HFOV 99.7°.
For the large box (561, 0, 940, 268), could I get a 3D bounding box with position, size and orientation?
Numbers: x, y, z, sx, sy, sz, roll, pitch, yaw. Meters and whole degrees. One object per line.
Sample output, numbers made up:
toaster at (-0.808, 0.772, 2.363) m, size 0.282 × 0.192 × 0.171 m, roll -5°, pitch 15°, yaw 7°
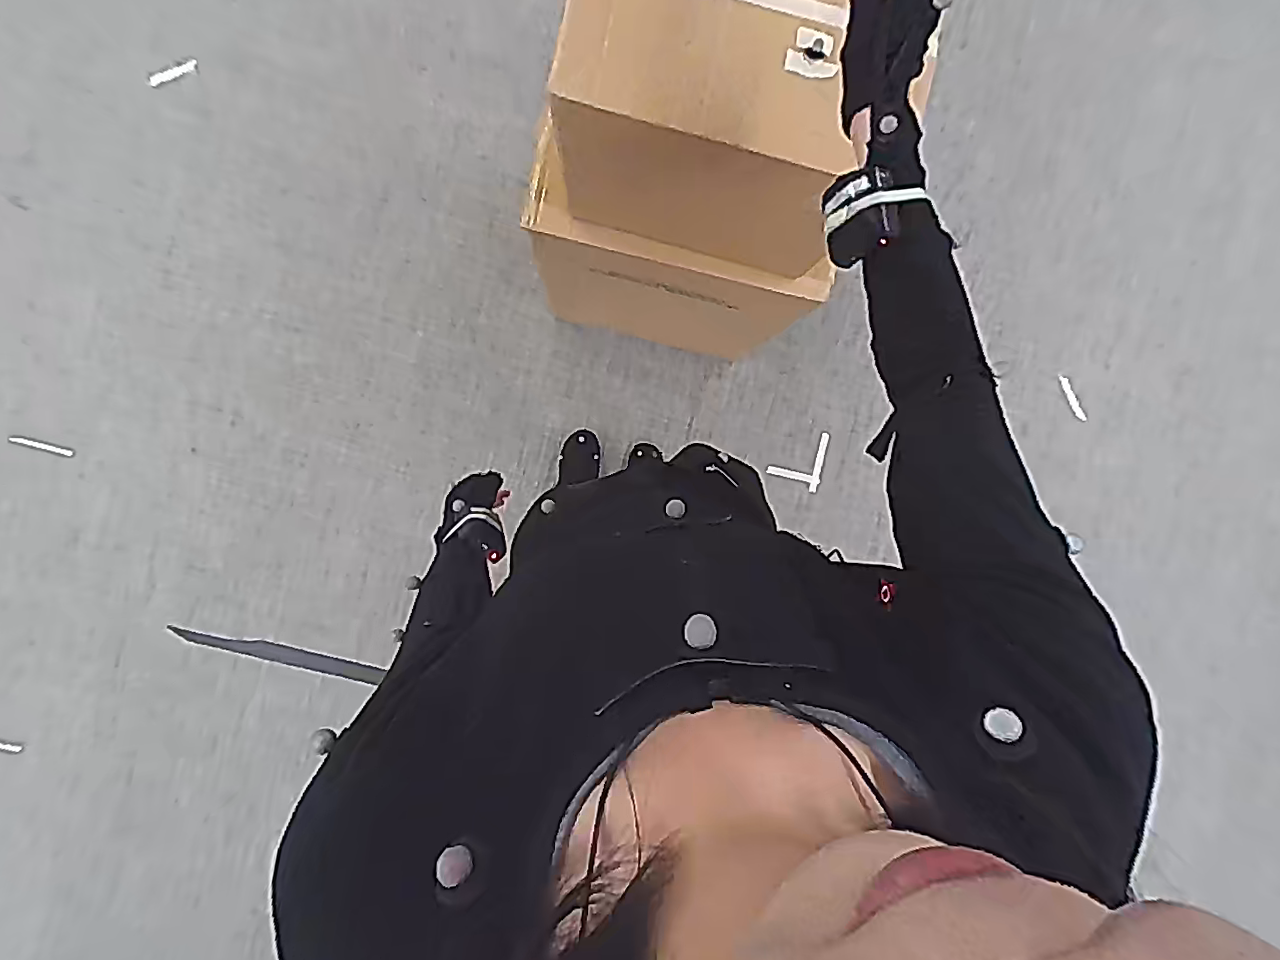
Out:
large box at (0.121, -0.535, 0.746) m, size 0.408 × 0.320 × 0.320 m, roll 12°, pitch 93°, yaw -5°
